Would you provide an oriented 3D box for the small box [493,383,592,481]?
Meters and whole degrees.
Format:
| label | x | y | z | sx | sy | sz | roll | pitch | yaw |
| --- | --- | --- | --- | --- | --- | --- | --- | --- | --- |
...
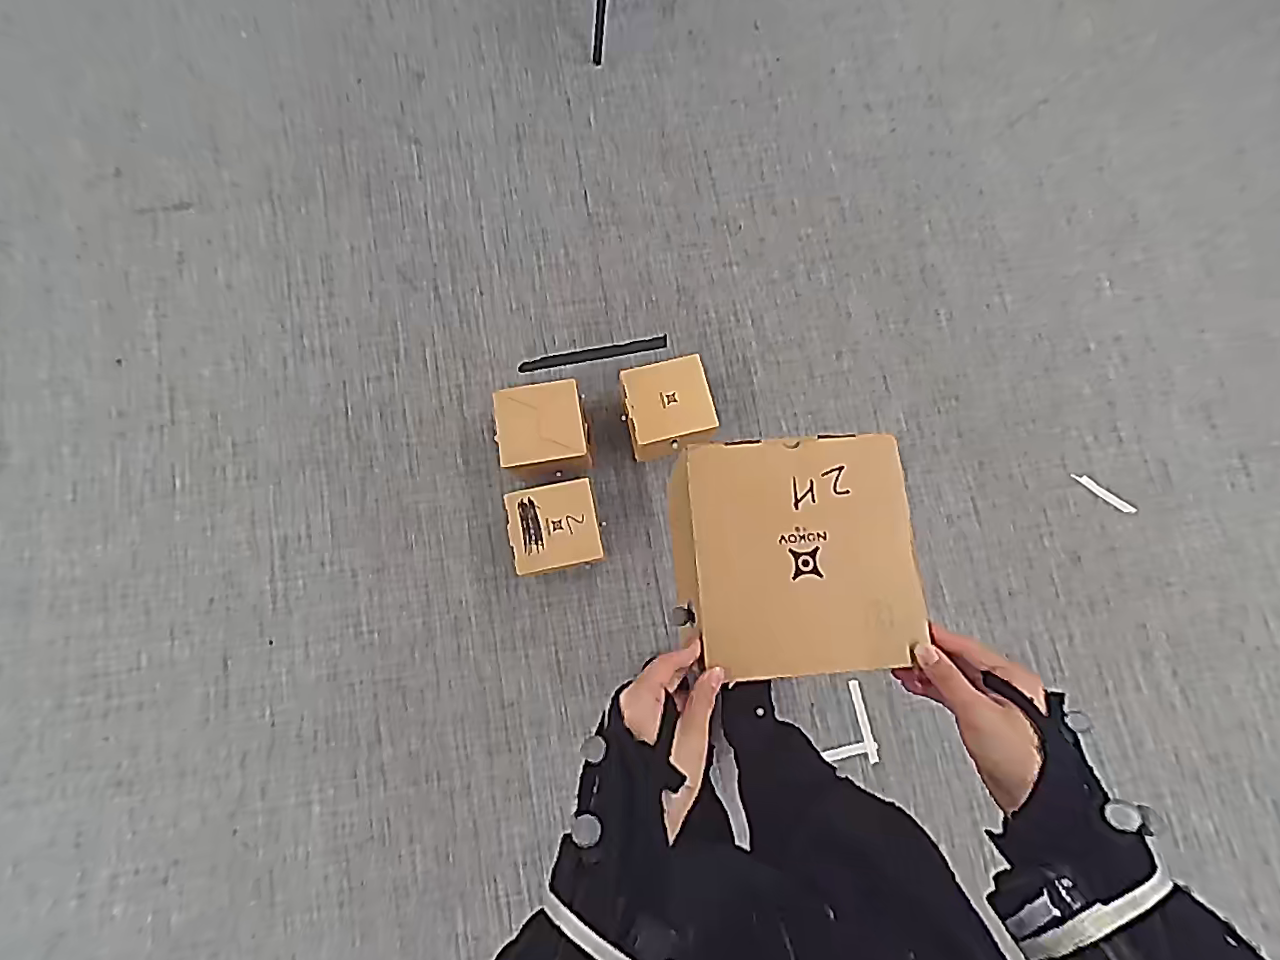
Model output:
| label | x | y | z | sx | sy | sz | roll | pitch | yaw |
| --- | --- | --- | --- | --- | --- | --- | --- | --- | --- |
| small box | -0.208 | -0.103 | 1.183 | 0.179 | 0.176 | 0.168 | -9 | 80 | -3 |

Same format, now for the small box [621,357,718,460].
| label | x | y | z | sx | sy | sz | roll | pitch | yaw |
| --- | --- | --- | --- | --- | --- | --- | --- | --- | --- |
| small box | 0.058 | -0.152 | 1.204 | 0.179 | 0.176 | 0.168 | -14 | 81 | -3 |

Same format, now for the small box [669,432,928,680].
| label | x | y | z | sx | sy | sz | roll | pitch | yaw |
| --- | --- | --- | --- | --- | --- | --- | --- | --- | --- |
| small box | 0.119 | 0.066 | 0.478 | 0.168 | 0.176 | 0.179 | -3 | 79 | -3 |
